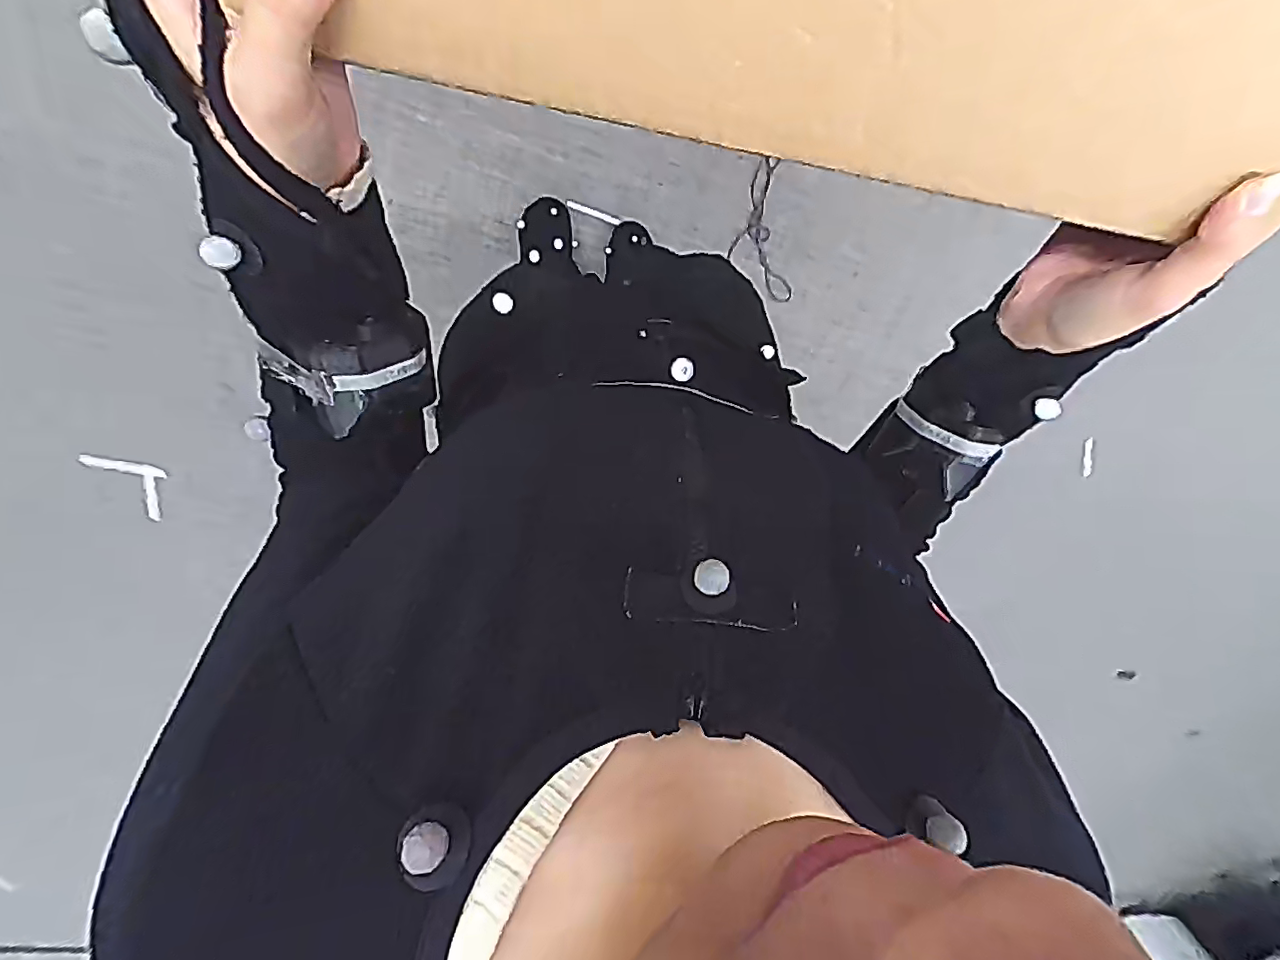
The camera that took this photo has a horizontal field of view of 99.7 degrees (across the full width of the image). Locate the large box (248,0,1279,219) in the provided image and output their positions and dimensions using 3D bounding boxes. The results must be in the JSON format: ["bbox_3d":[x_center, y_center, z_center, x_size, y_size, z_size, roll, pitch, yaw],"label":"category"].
[{"bbox_3d":[0.086,-0.338,0.185,0.408,0.320,0.320,4,142,-10],"label":"large box"}]
